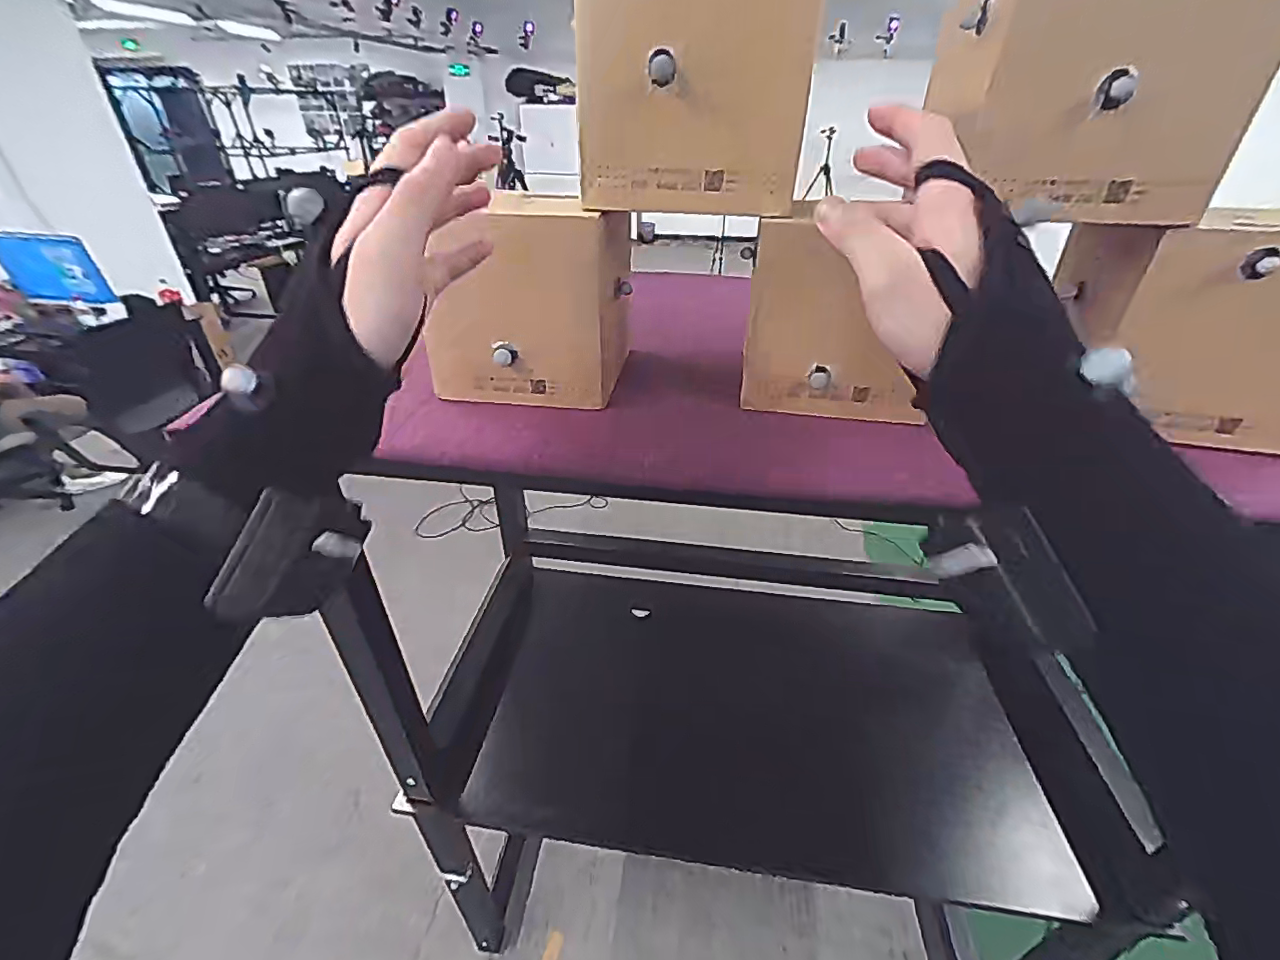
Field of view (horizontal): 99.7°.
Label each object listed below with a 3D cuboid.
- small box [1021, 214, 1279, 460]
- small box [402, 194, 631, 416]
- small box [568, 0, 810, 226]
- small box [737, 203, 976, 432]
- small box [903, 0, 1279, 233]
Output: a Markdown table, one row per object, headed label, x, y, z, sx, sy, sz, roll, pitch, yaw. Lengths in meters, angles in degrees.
| label | x | y | z | sx | sy | sz | roll | pitch | yaw |
| --- | --- | --- | --- | --- | --- | --- | --- | --- | --- |
| small box | 0.477 | -0.138 | 0.482 | 0.168 | 0.176 | 0.179 | 9 | 33 | 15 |
| small box | -0.104 | -0.180 | 0.540 | 0.168 | 0.176 | 0.179 | 5 | 34 | 6 |
| small box | 0.039 | -0.315 | 0.454 | 0.168 | 0.176 | 0.179 | 2 | 32 | 2 |
| small box | 0.186 | -0.165 | 0.524 | 0.168 | 0.176 | 0.179 | 6 | 34 | 10 |
| small box | 0.325 | -0.295 | 0.421 | 0.168 | 0.176 | 0.179 | 7 | 33 | 9 |
